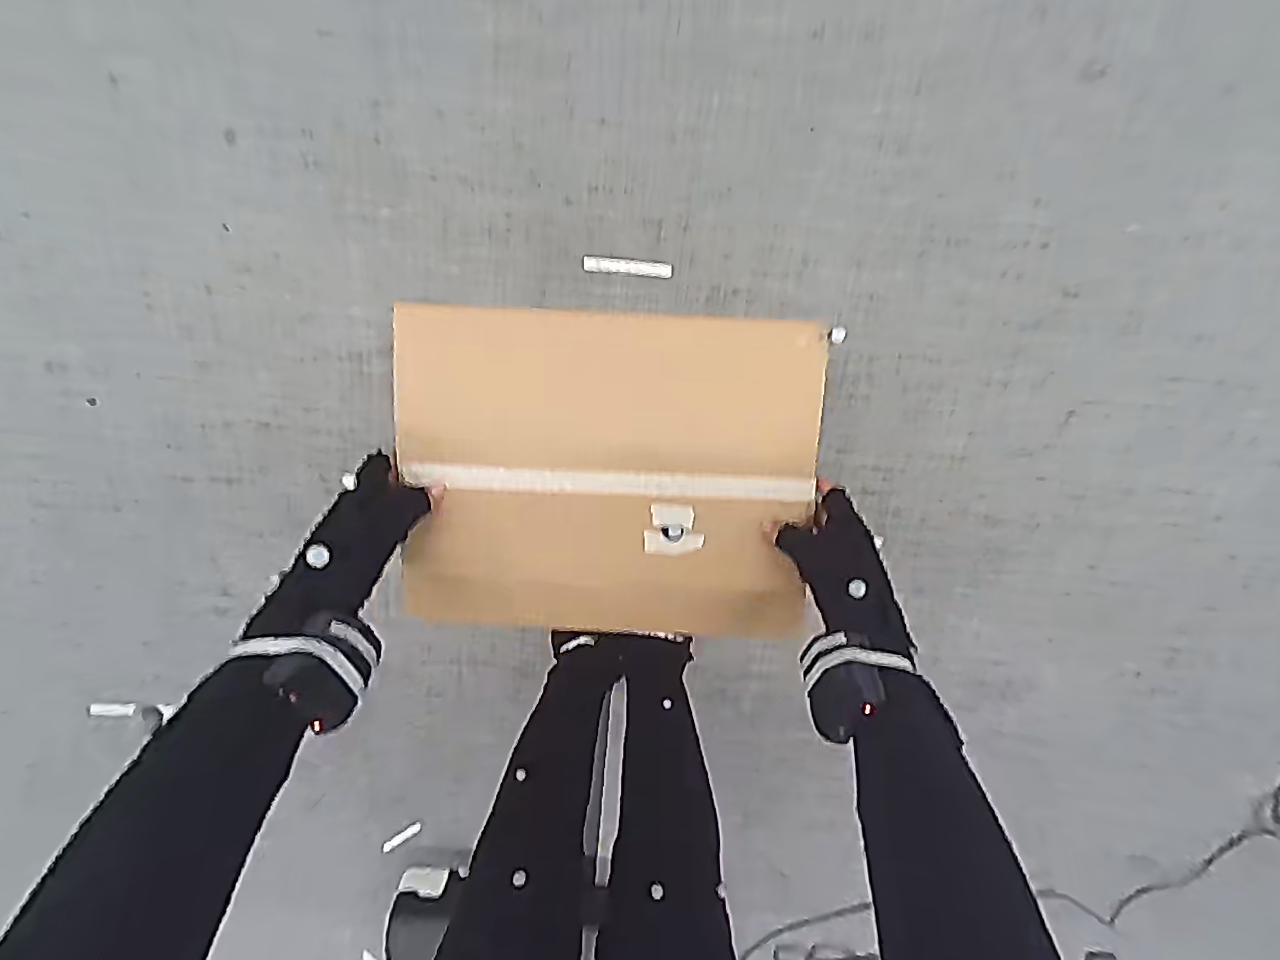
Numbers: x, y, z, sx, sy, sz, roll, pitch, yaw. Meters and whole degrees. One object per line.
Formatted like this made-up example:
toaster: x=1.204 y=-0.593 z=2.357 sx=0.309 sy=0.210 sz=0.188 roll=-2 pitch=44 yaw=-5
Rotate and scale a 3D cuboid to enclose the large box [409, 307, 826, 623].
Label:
large box: x=-0.027 y=-0.031 z=0.683 sx=0.408 sy=0.320 sz=0.320 roll=2 pitch=101 yaw=-1
